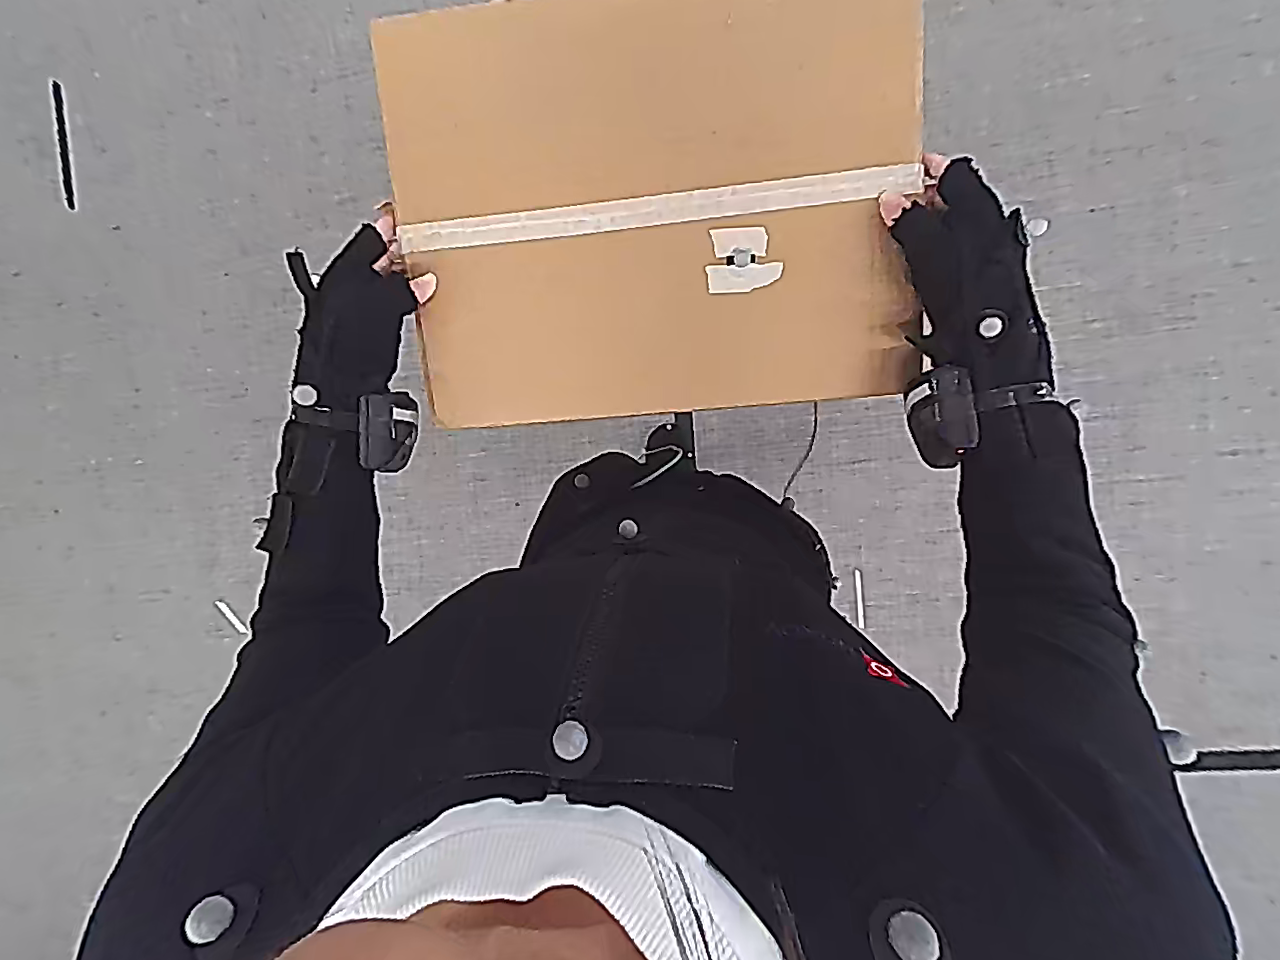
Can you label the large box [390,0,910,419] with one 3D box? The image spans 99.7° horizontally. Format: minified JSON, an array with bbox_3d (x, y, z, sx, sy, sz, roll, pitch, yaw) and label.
[{"bbox_3d":[0.020,-0.248,0.581,0.408,0.320,0.320,-4,101,5],"label":"large box"}]
